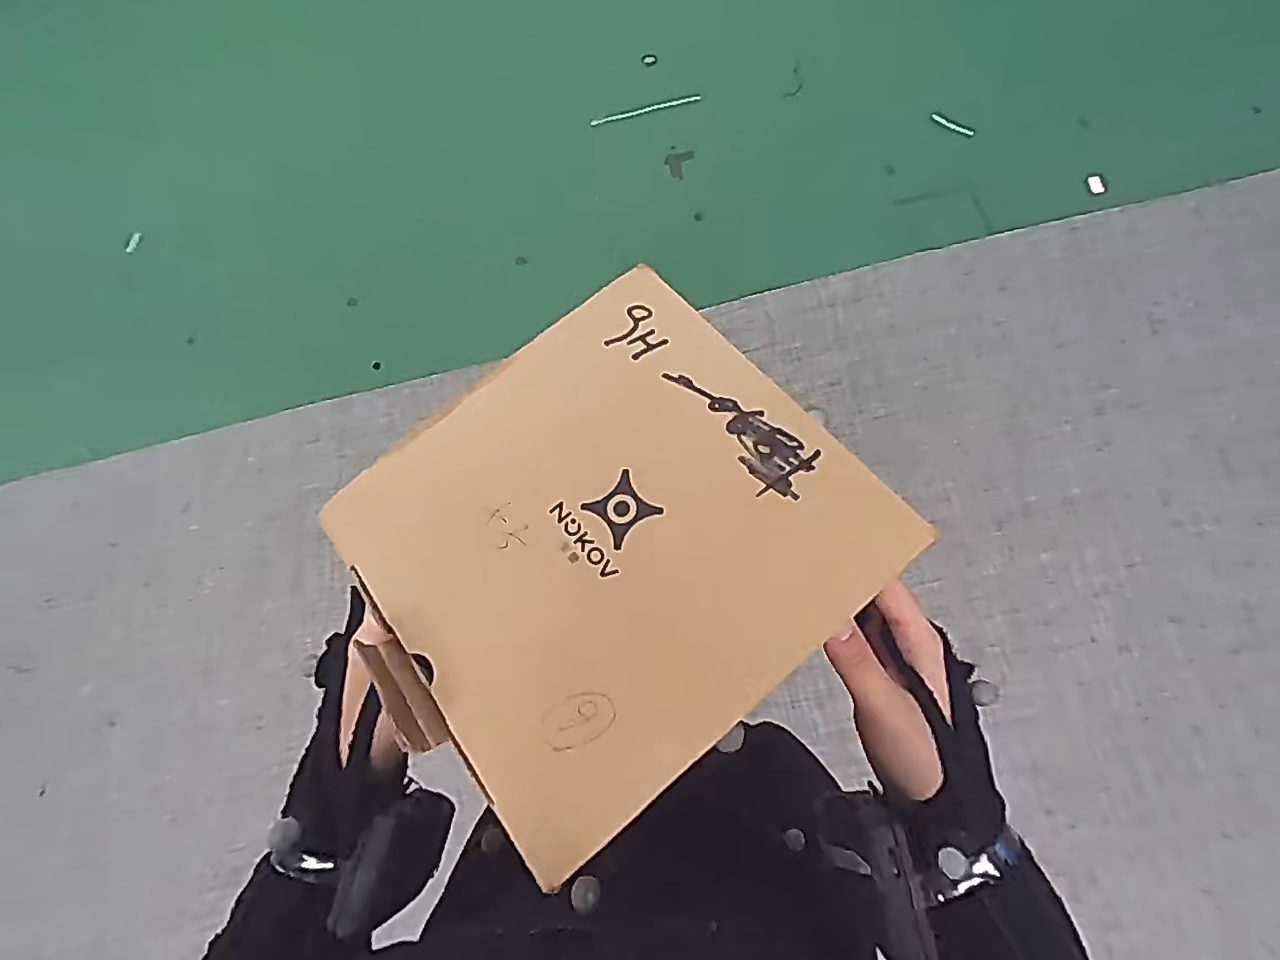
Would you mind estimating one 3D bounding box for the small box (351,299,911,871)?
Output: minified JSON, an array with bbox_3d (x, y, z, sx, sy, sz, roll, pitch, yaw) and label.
[{"bbox_3d":[-0.001,0.051,0.293,0.179,0.176,0.168,-40,71,-7],"label":"small box"}]
